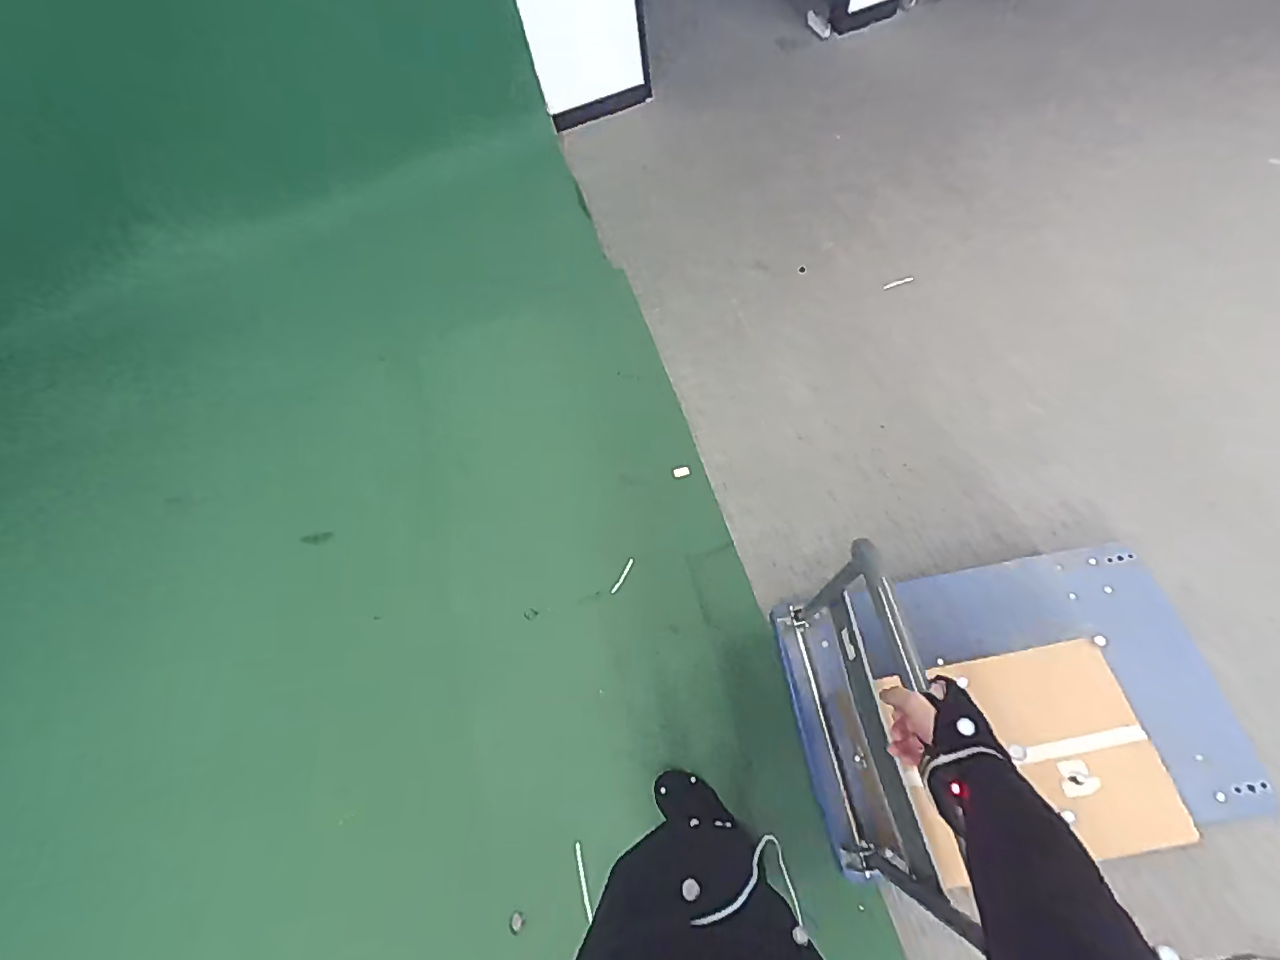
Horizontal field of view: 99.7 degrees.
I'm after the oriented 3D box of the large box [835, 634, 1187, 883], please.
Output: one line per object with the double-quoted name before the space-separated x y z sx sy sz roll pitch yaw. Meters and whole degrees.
"large box" 0.650 0.517 1.043 0.408 0.320 0.320 -12 65 1
